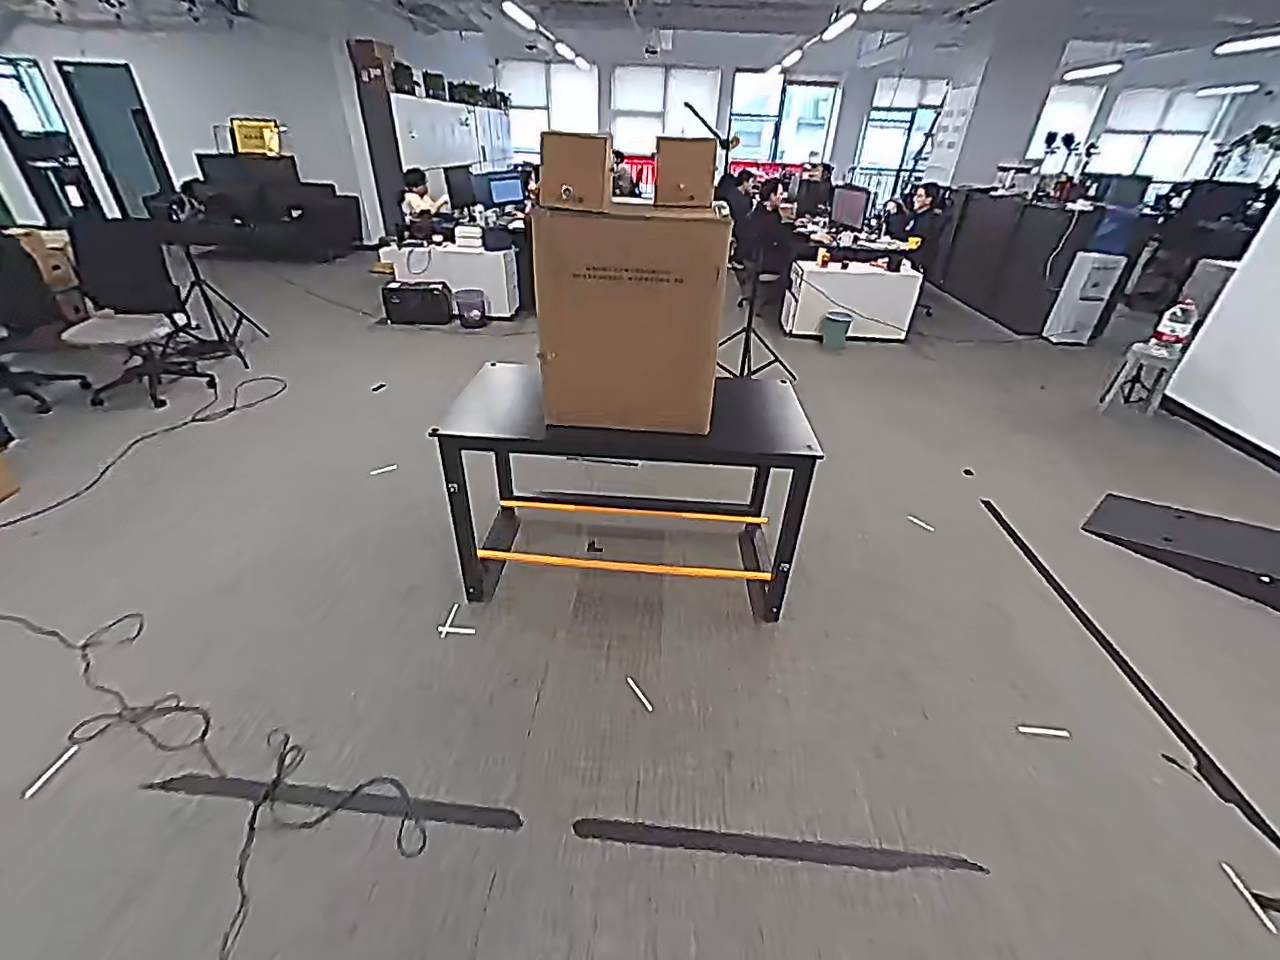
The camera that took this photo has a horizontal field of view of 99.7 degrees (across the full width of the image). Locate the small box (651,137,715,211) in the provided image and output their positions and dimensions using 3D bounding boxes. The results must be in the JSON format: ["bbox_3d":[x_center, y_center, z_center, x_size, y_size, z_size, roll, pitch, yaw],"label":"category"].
[{"bbox_3d":[0.116,-0.872,1.542,0.168,0.176,0.179,1,31,0],"label":"small box"}]

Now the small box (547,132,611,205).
[{"bbox_3d":[-0.174,-0.906,1.576,0.168,0.176,0.179,3,30,0],"label":"small box"}]
